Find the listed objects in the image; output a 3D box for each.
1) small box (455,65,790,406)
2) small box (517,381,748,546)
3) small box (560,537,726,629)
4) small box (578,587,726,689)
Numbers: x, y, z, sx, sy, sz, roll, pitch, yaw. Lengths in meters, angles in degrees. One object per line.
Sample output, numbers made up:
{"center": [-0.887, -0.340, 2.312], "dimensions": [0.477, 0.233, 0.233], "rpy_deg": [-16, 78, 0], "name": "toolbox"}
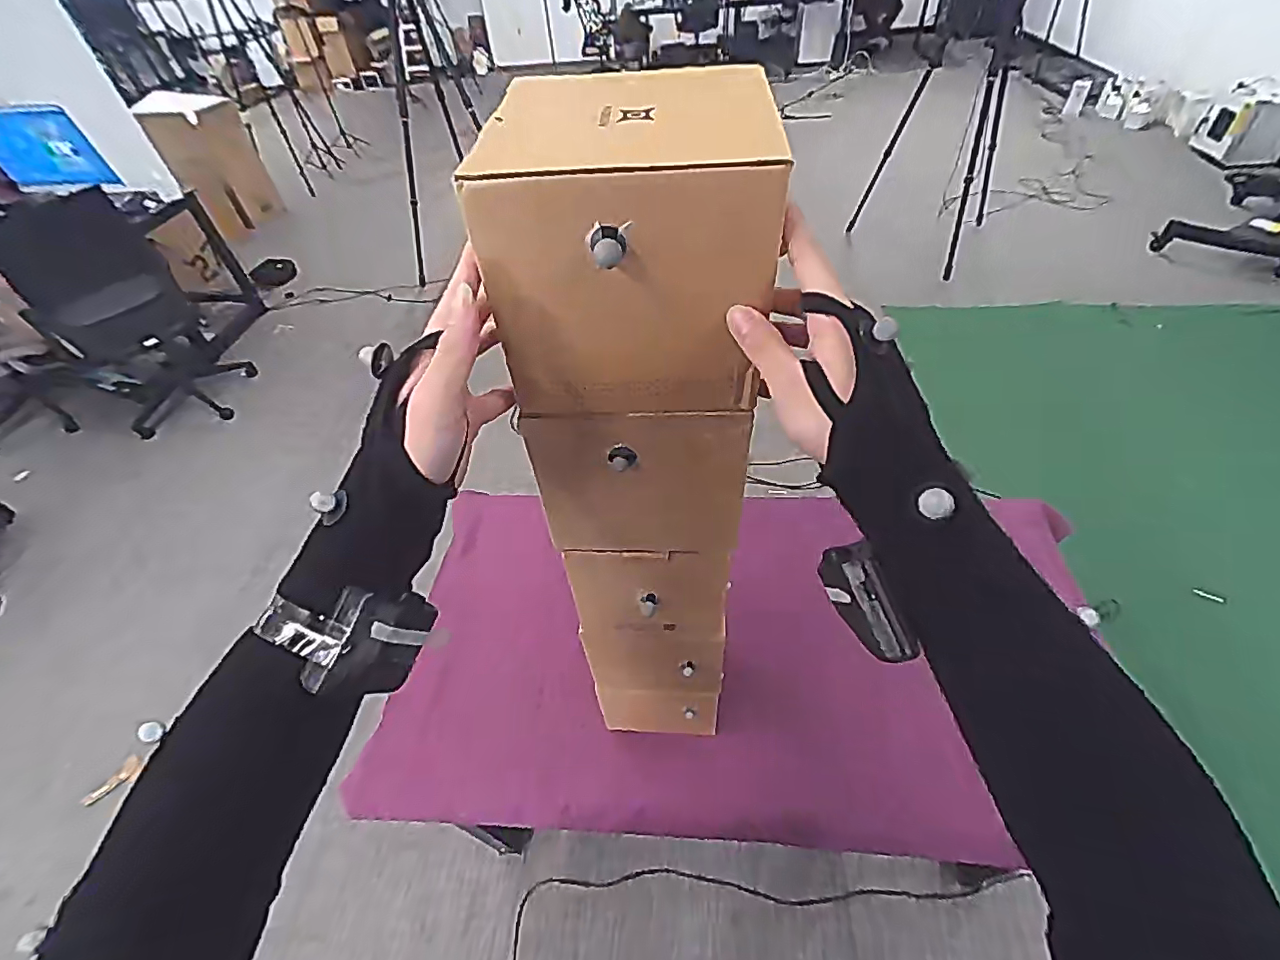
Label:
{"center": [-0.001, -0.166, 0.387], "dimensions": [0.179, 0.176, 0.168], "rpy_deg": [0, 50, 5], "name": "small box"}
{"center": [0.003, -0.052, 0.509], "dimensions": [0.179, 0.176, 0.168], "rpy_deg": [1, 46, 5], "name": "small box"}
{"center": [0.014, 0.059, 0.632], "dimensions": [0.168, 0.176, 0.179], "rpy_deg": [0, 47, 5], "name": "small box"}
{"center": [0.024, 0.175, 0.746], "dimensions": [0.179, 0.176, 0.168], "rpy_deg": [1, 47, 6], "name": "small box"}
